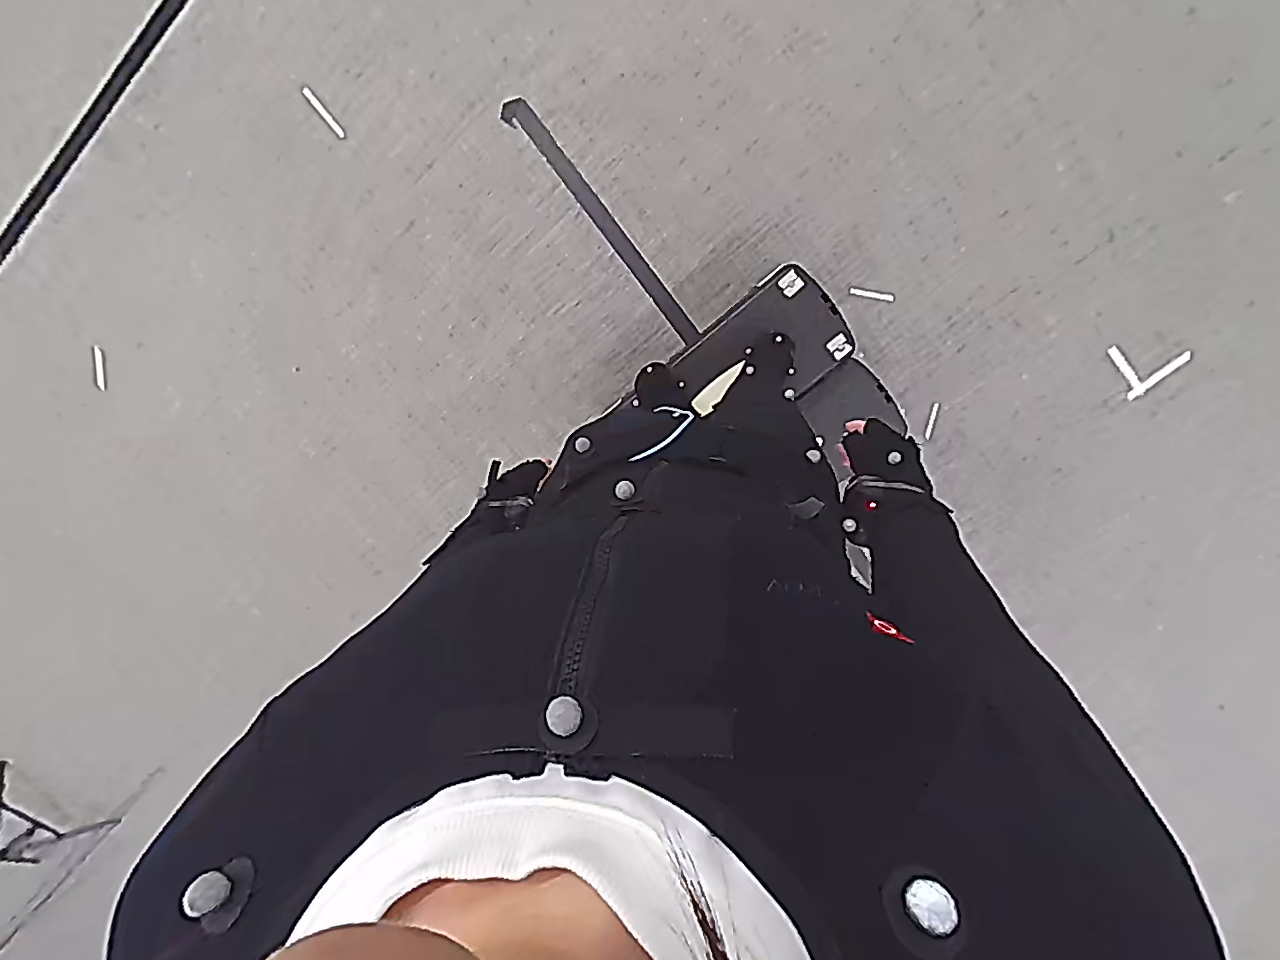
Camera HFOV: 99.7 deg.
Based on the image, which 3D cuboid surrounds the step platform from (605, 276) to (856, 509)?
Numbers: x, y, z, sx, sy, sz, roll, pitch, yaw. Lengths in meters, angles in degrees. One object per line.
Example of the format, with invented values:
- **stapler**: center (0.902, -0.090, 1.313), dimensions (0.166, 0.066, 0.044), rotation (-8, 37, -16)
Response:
- **step platform**: center (0.228, -0.226, 1.472), dimensions (0.684, 0.204, 0.286), rotation (-40, 98, 12)
